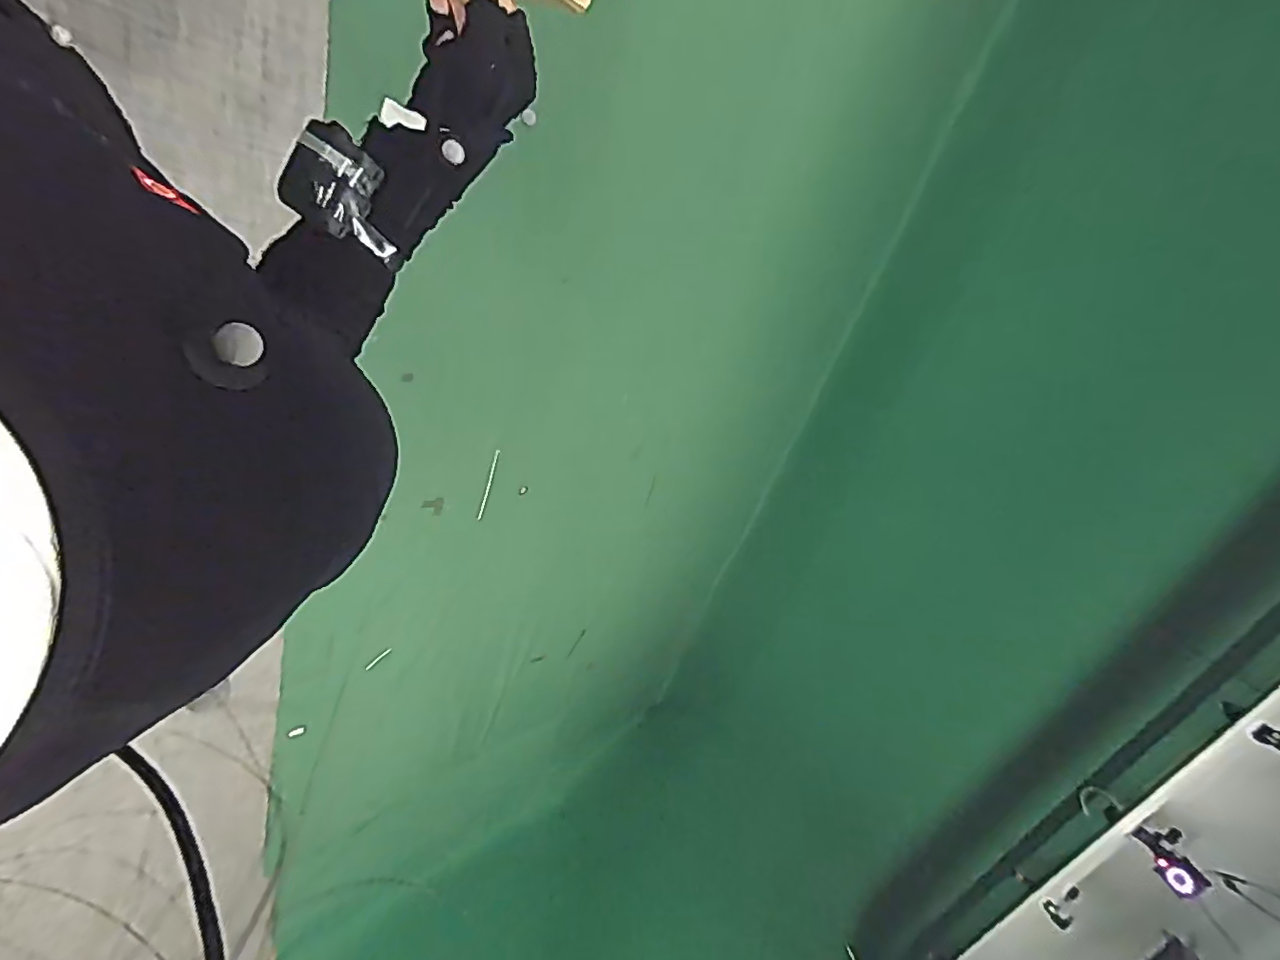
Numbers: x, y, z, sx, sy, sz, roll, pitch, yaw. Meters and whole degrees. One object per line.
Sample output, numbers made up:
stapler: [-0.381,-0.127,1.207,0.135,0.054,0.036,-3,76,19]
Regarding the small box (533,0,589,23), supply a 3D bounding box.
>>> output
small box: [-0.112,-0.472,0.370,0.168,0.176,0.179,-5,133,-46]
